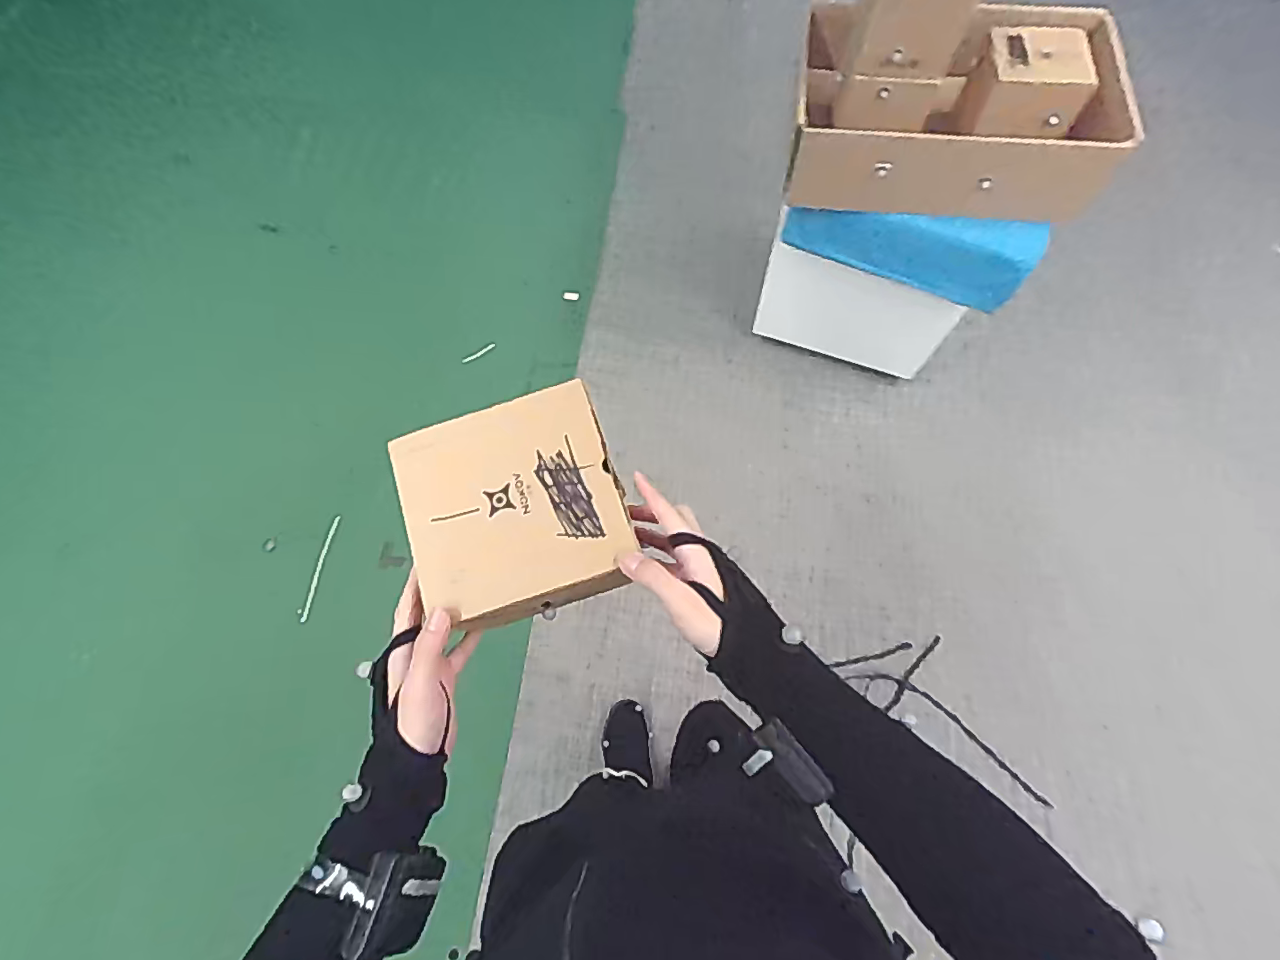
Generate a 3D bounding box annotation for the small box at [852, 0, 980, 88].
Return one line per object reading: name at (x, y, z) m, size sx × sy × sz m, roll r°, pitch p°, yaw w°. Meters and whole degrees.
small box at (0.493, -0.856, 0.980) m, size 0.168 × 0.176 × 0.179 m, roll 6°, pitch 69°, yaw 5°

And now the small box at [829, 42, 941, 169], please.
small box at (0.501, -0.789, 1.129) m, size 0.168 × 0.176 × 0.179 m, roll 7°, pitch 68°, yaw 6°
